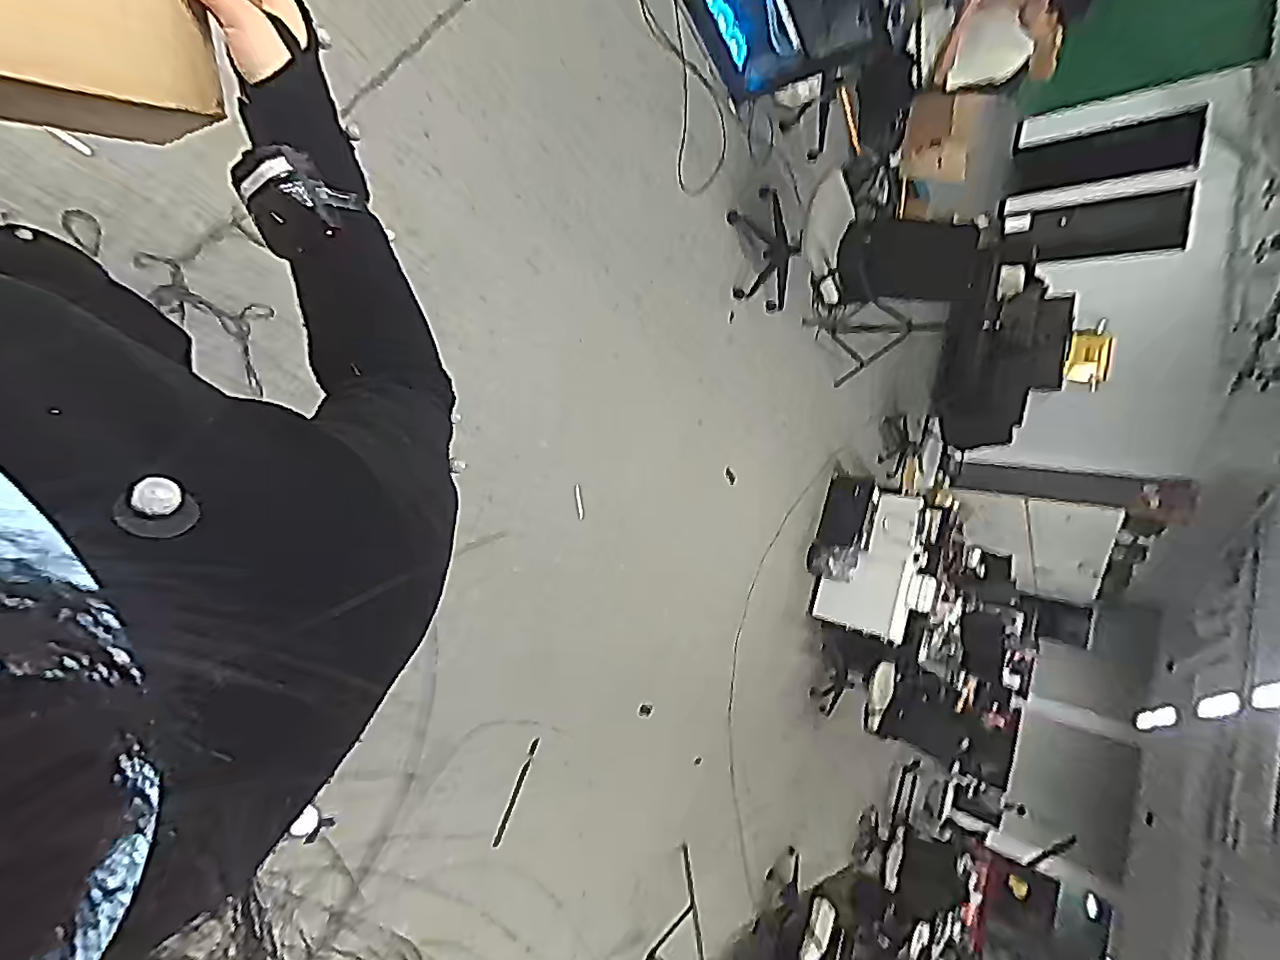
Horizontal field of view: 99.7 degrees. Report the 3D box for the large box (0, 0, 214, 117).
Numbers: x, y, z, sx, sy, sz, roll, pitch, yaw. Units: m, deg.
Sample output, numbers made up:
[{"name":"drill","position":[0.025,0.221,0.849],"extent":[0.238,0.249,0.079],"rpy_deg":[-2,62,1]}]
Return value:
[{"name":"large box","position":[-0.553,-0.434,0.313],"extent":[0.408,0.320,0.320],"rpy_deg":[-17,122,-42]}]
